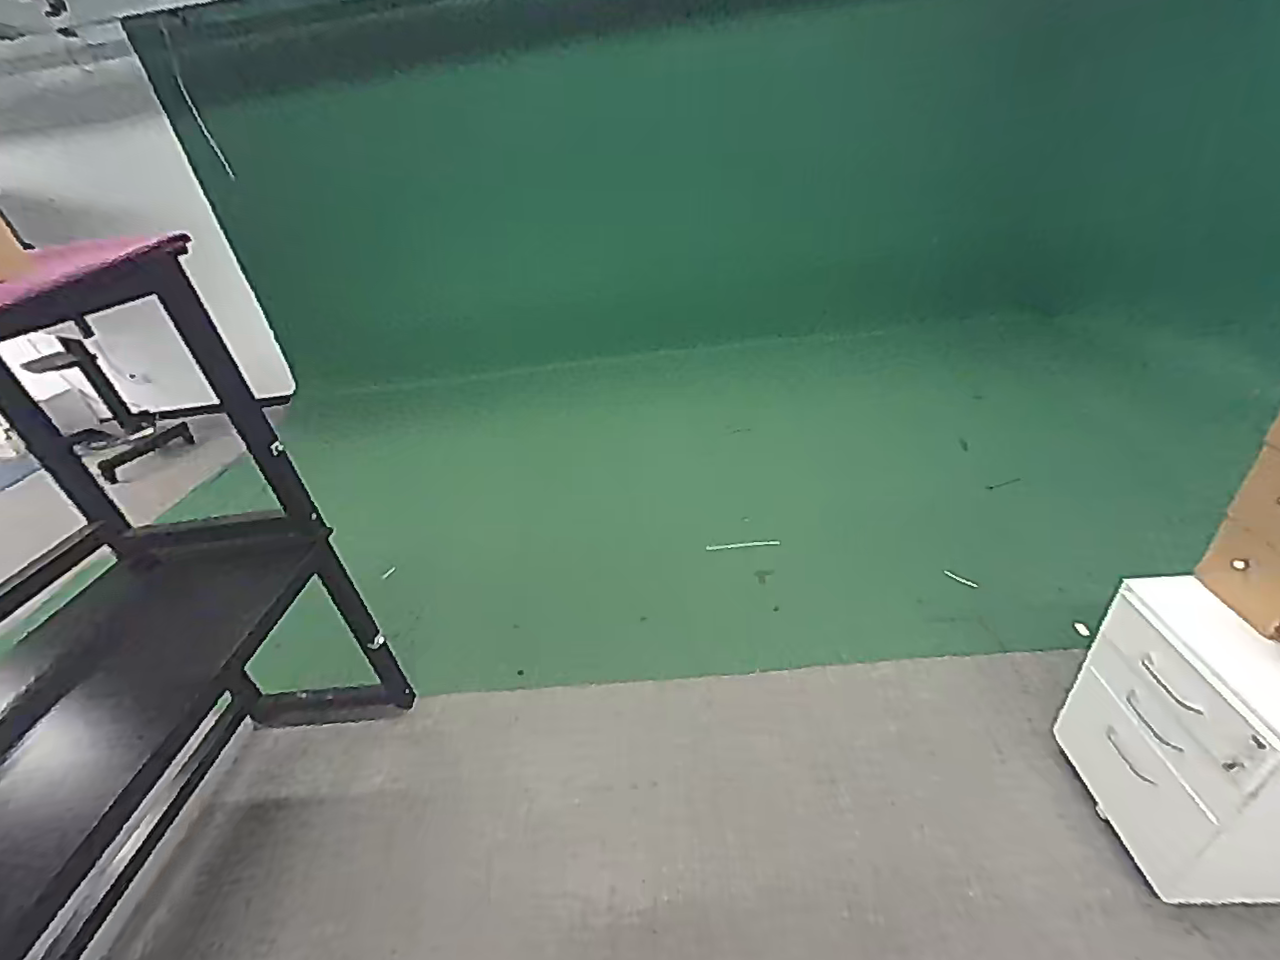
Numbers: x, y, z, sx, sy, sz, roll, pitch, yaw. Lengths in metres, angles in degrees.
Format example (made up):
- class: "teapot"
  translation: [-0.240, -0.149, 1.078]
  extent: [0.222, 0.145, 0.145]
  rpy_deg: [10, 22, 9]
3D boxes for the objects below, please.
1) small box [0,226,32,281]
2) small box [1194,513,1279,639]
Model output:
- class: "small box"
  translation: [-1.114, -0.365, 0.812]
  extent: [0.168, 0.176, 0.179]
  rpy_deg: [-7, 32, 6]
- class: "small box"
  translation: [1.242, 0.180, 1.036]
  extent: [0.168, 0.176, 0.179]
  rpy_deg: [-5, 34, 5]
